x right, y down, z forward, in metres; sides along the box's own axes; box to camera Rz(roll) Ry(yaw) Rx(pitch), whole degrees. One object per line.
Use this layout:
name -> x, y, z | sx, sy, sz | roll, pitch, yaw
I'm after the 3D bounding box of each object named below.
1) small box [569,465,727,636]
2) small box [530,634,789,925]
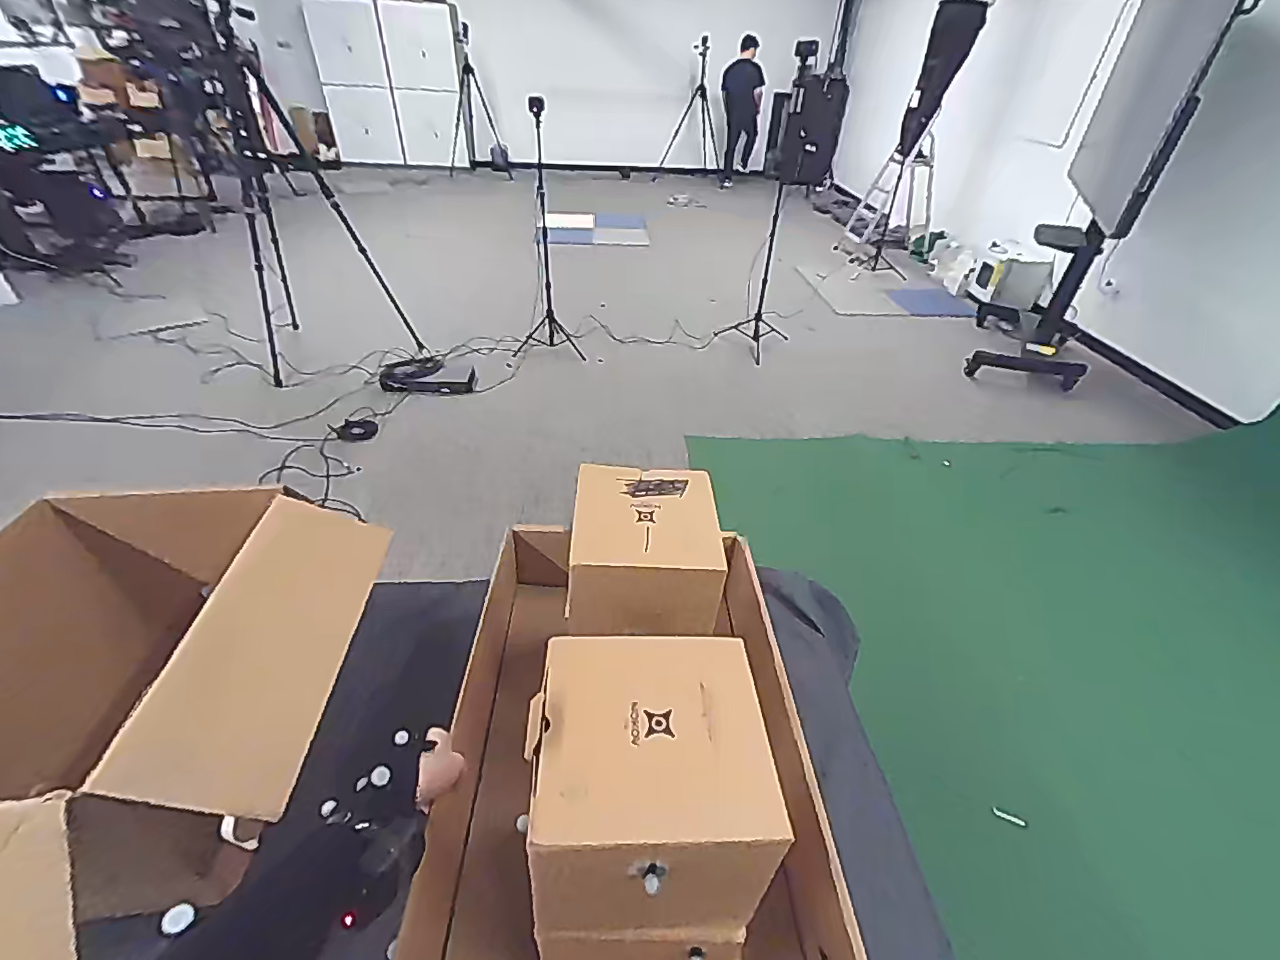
small box -> 0.002, 0.102, 0.669 | 0.168, 0.176, 0.179 | 3, 37, -3
small box -> 0.005, 0.253, 0.463 | 0.179, 0.176, 0.168 | 2, 35, -6
